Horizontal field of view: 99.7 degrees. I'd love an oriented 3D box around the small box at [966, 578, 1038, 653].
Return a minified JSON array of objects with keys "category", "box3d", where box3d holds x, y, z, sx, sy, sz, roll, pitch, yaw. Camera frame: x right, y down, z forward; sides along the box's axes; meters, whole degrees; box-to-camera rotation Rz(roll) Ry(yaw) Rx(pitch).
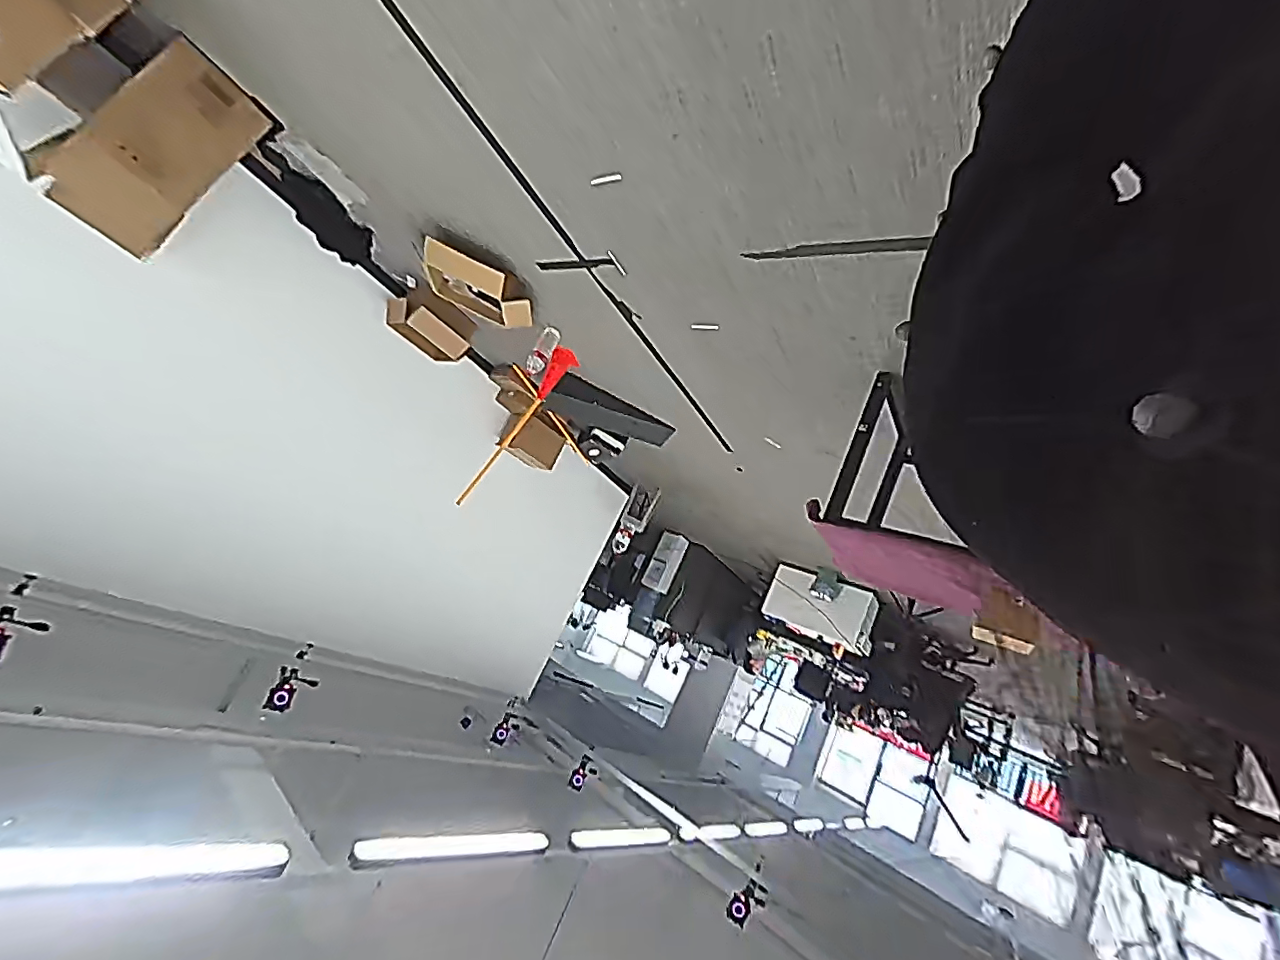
[{"category":"small box","box3d":[1.185,0.443,1.775,0.168,0.176,0.179,14,161,35]}]
